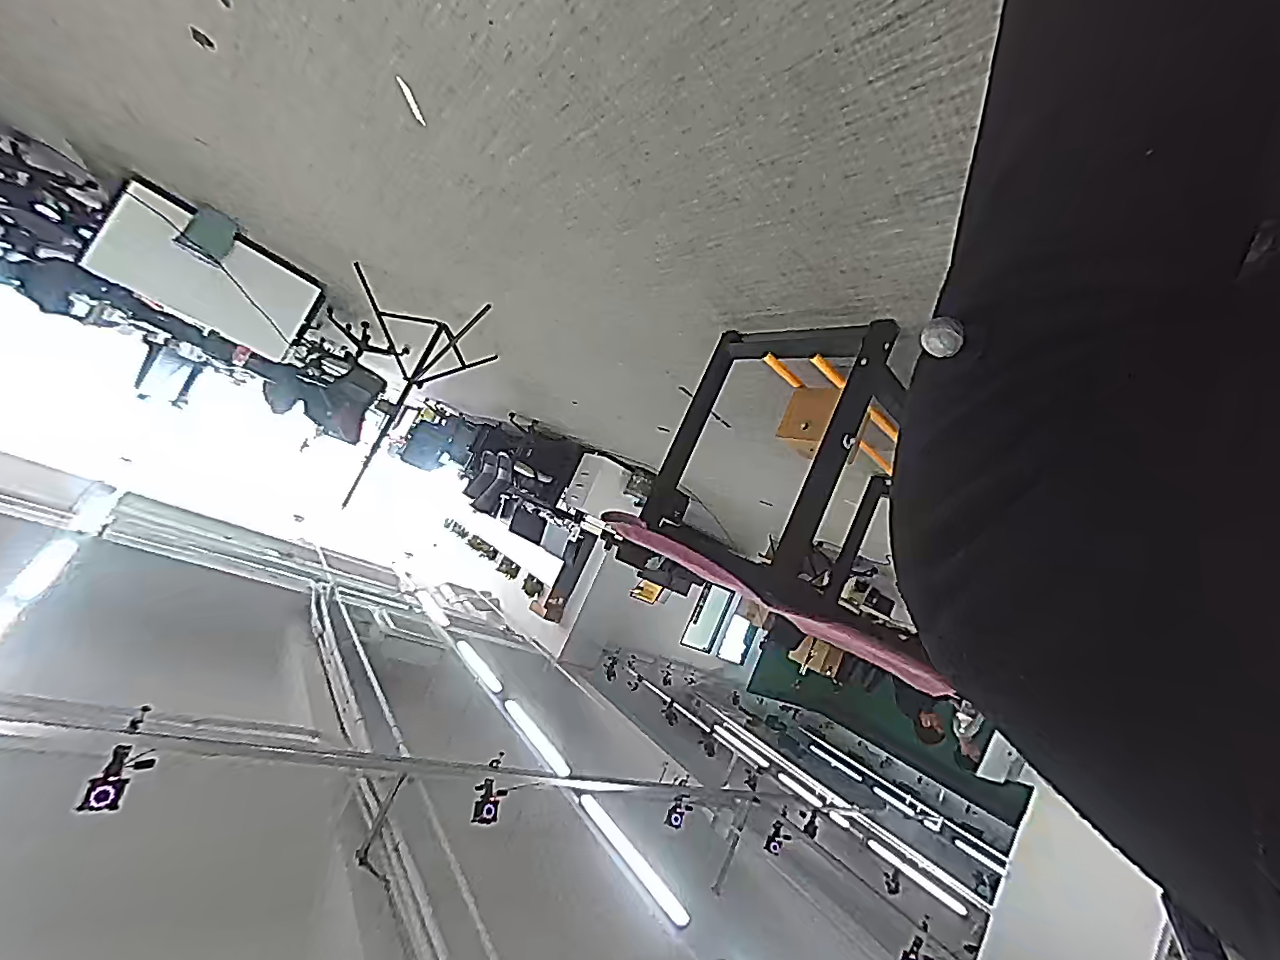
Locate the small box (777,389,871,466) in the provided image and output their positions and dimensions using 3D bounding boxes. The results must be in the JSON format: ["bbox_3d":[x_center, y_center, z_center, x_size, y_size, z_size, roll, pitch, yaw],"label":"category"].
[{"bbox_3d":[0.542,-0.158,1.586,0.168,0.176,0.179,28,171,-36],"label":"small box"}]
